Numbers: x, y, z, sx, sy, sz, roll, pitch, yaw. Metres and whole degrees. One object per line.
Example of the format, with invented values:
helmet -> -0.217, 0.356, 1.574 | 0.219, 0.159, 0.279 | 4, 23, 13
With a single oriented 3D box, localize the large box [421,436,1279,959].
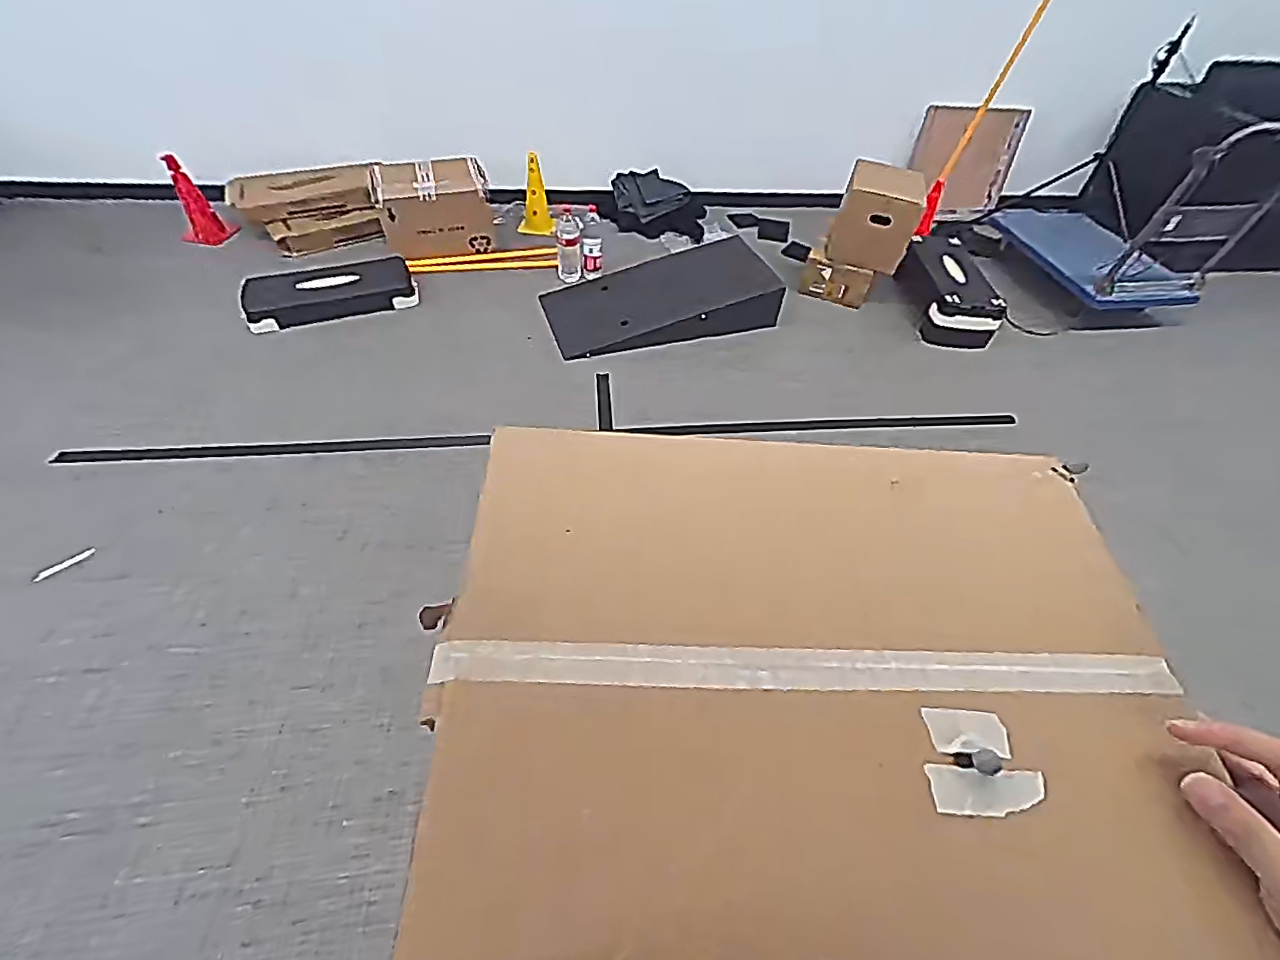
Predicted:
large box -> 0.087, 0.187, 0.431 | 0.408, 0.320, 0.320 | 3, 57, -5
